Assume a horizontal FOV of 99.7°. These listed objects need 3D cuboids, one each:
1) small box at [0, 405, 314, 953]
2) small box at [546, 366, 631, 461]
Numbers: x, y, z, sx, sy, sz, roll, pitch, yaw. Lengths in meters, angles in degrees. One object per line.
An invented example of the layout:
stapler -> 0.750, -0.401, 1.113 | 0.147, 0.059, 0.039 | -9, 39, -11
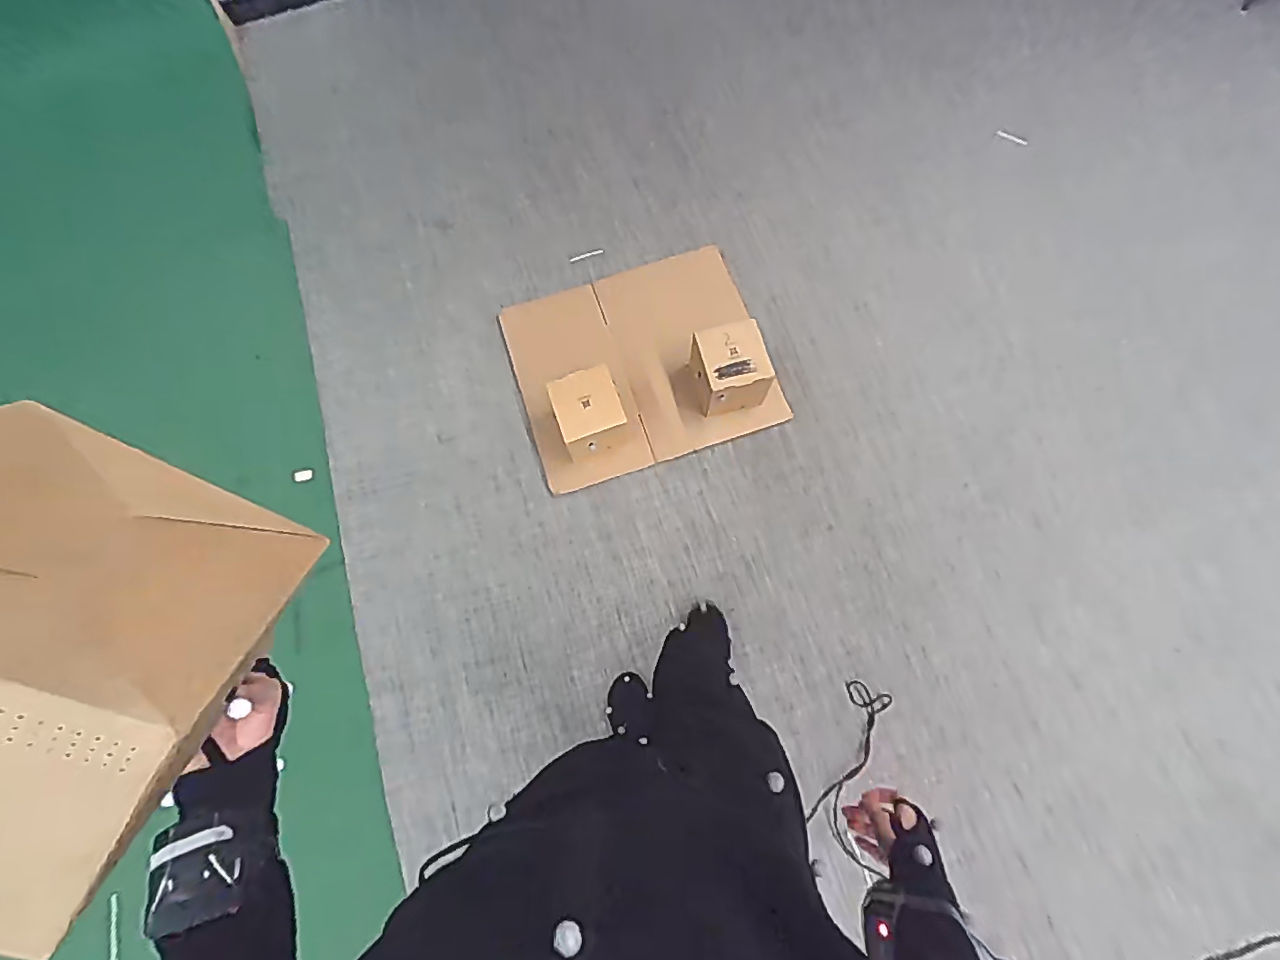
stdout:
small box -> -0.305, 0.090, 0.281 | 0.179, 0.168, 0.176 | 32, 104, -20
small box -> -0.128, -0.163, 1.417 | 0.168, 0.176, 0.179 | -20, 73, -4
